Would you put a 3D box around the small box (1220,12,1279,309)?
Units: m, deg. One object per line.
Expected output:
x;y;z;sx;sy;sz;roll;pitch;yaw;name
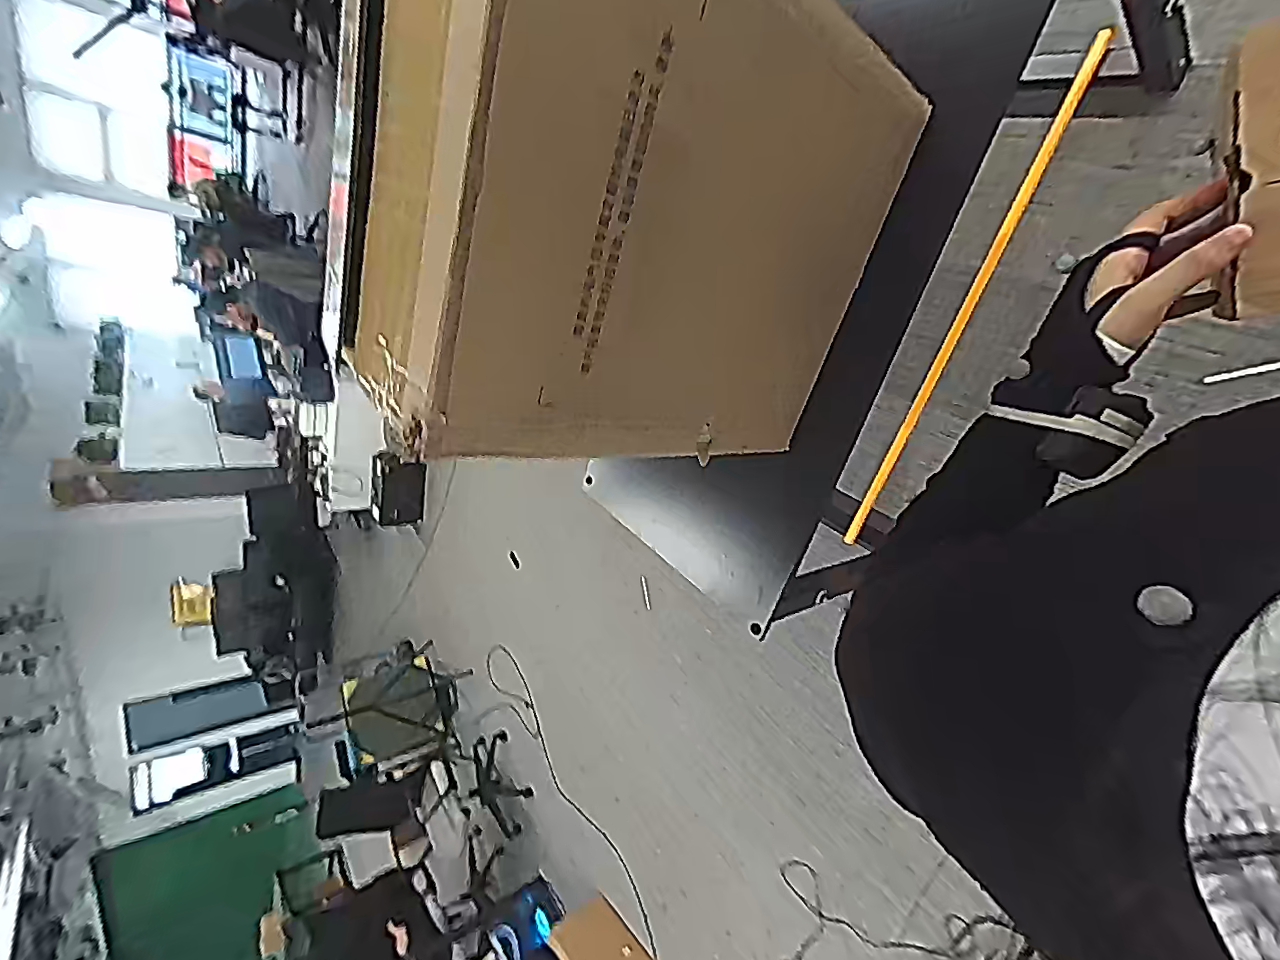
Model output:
0.476;-0.200;0.320;0.179;0.176;0.168;1;105;44;small box
